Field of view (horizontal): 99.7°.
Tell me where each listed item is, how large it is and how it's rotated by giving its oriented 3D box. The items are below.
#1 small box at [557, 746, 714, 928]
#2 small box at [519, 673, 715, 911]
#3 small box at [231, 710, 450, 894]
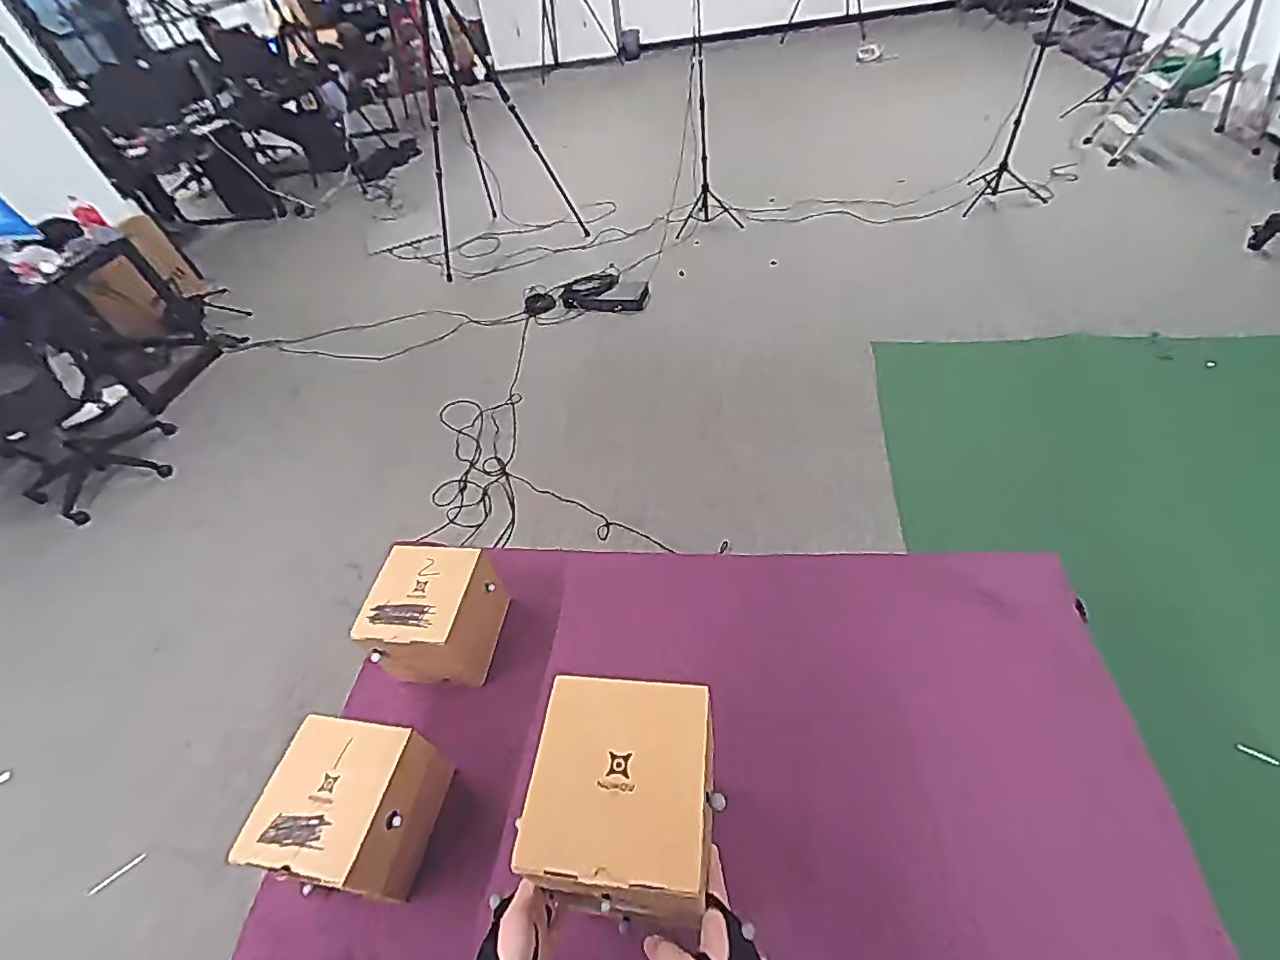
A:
[{"bbox_3d":[0.007,0.440,0.684,0.168,0.176,0.179,1,48,9],"label":"small box"},{"bbox_3d":[-0.008,0.327,0.568,0.168,0.176,0.179,1,49,9],"label":"small box"},{"bbox_3d":[-0.389,0.445,0.745,0.168,0.176,0.179,3,48,12],"label":"small box"}]
